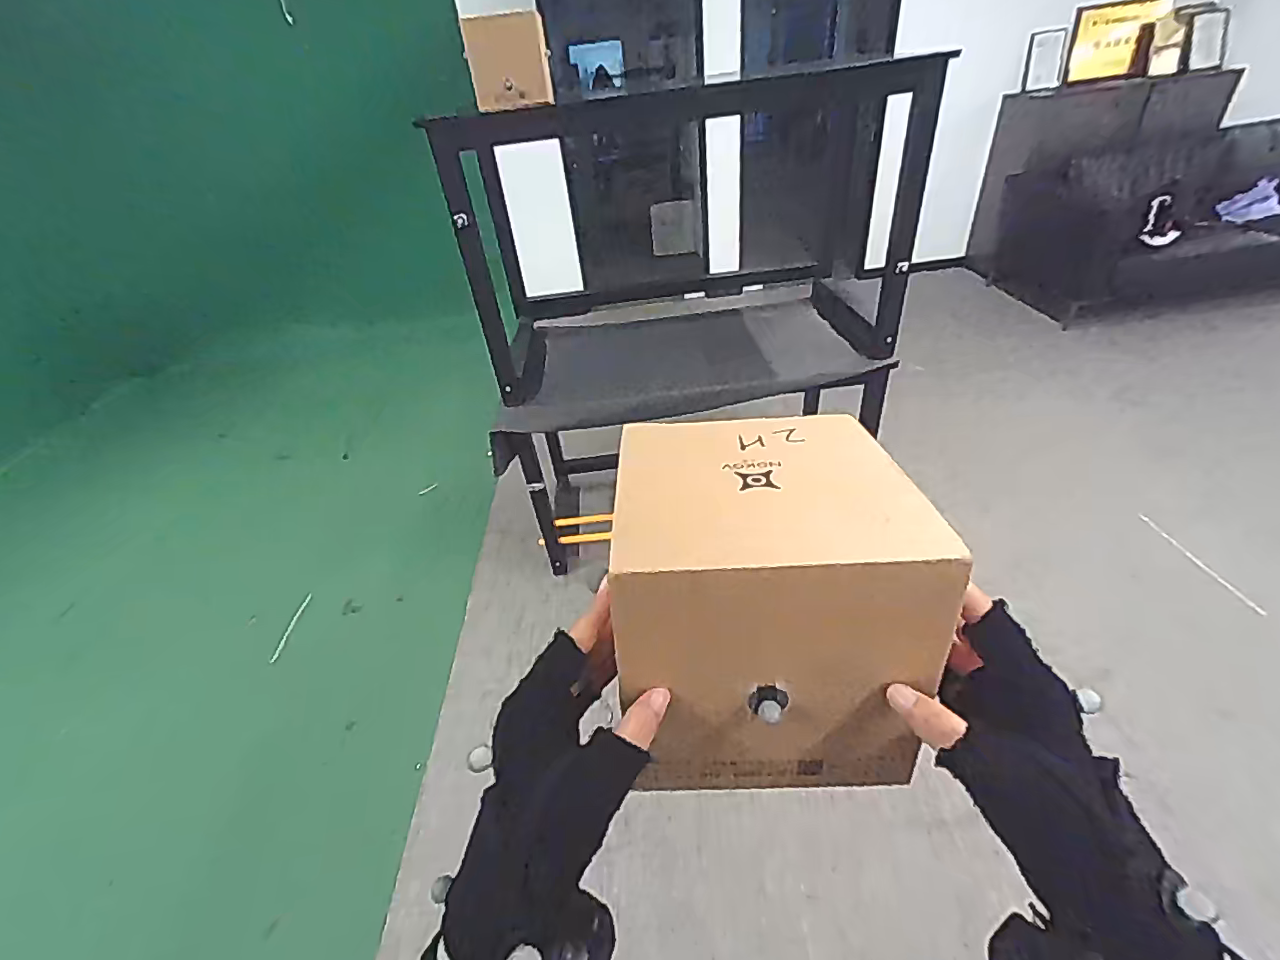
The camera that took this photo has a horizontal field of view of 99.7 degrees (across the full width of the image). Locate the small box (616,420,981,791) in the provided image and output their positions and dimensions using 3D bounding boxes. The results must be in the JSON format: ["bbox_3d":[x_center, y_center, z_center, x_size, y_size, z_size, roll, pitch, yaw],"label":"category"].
[{"bbox_3d":[0.077,0.074,0.350,0.168,0.176,0.179,-2,28,2],"label":"small box"}]
